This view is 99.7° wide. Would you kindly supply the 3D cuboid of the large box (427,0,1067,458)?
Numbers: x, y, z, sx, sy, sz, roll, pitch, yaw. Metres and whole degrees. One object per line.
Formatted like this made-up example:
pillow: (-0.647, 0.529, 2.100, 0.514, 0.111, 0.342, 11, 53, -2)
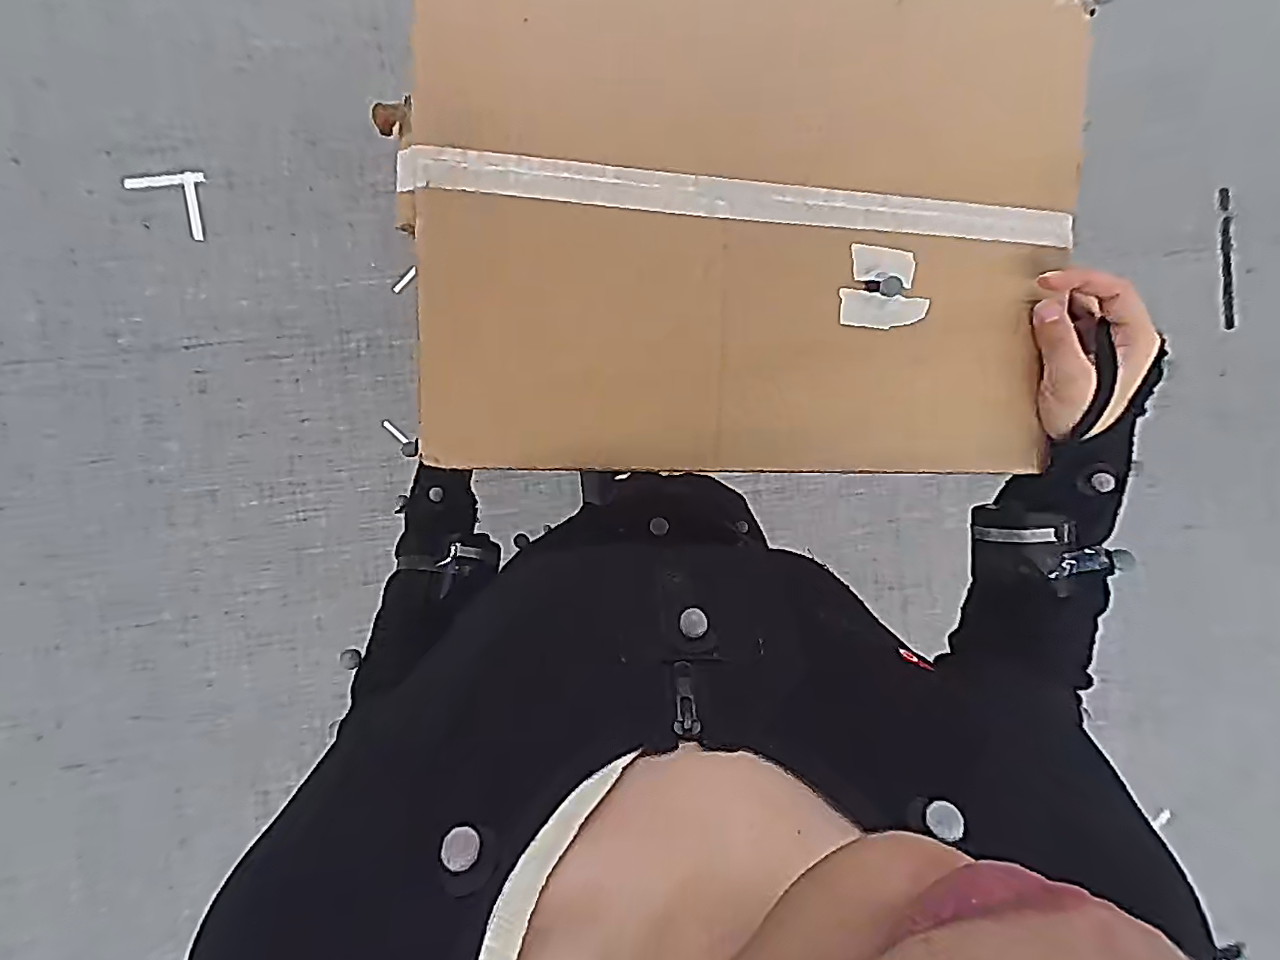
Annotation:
large box: (0.052, -0.184, 0.471, 0.408, 0.320, 0.320, 0, 96, -12)
